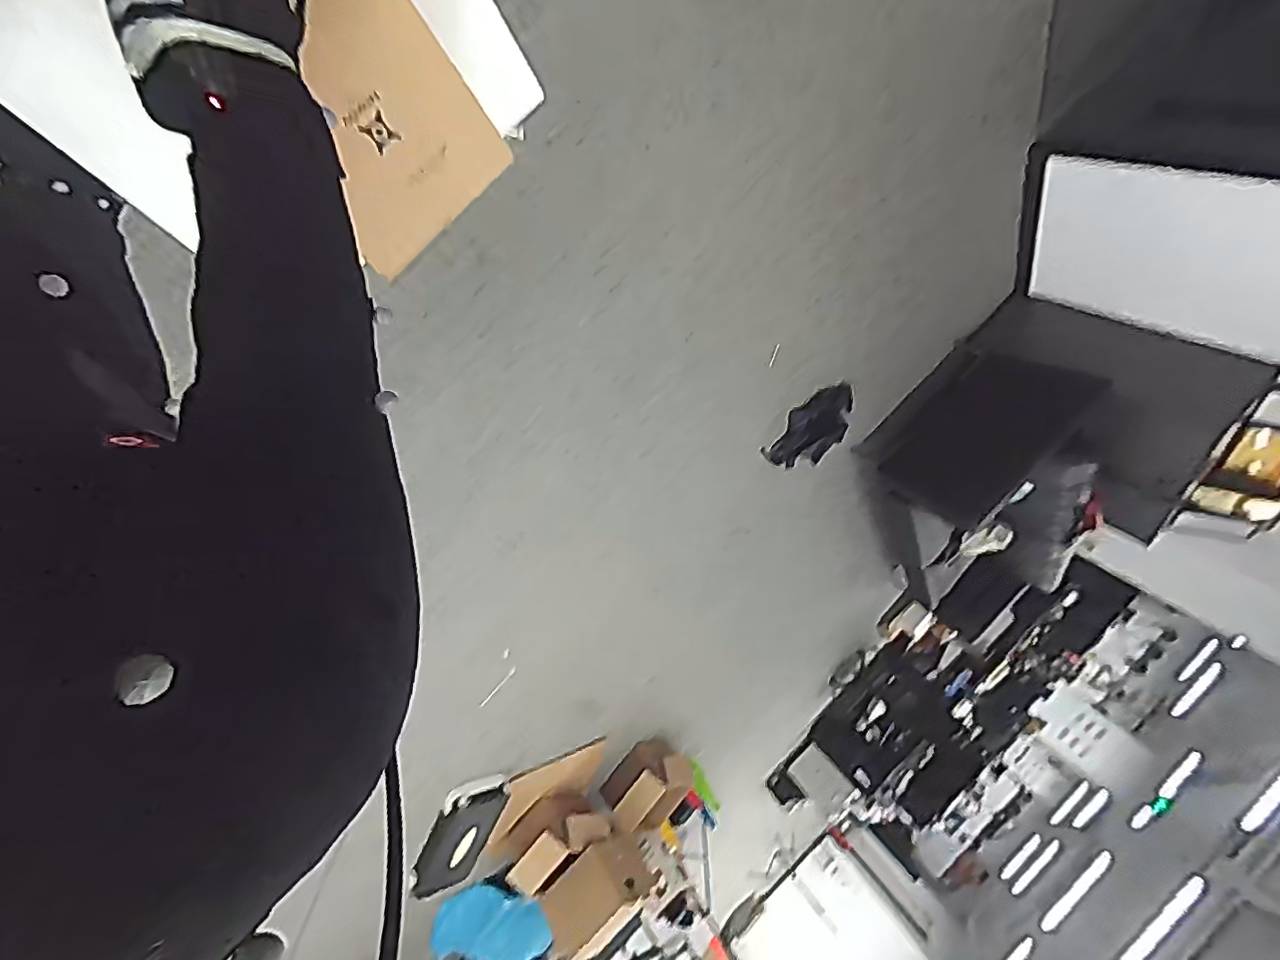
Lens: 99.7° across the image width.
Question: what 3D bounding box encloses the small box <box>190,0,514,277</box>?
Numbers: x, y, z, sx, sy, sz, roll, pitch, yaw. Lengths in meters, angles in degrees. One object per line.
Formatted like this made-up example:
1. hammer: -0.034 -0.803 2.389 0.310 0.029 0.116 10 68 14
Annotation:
1. small box: -0.254 -0.320 0.481 0.168 0.176 0.179 -45 140 -1
